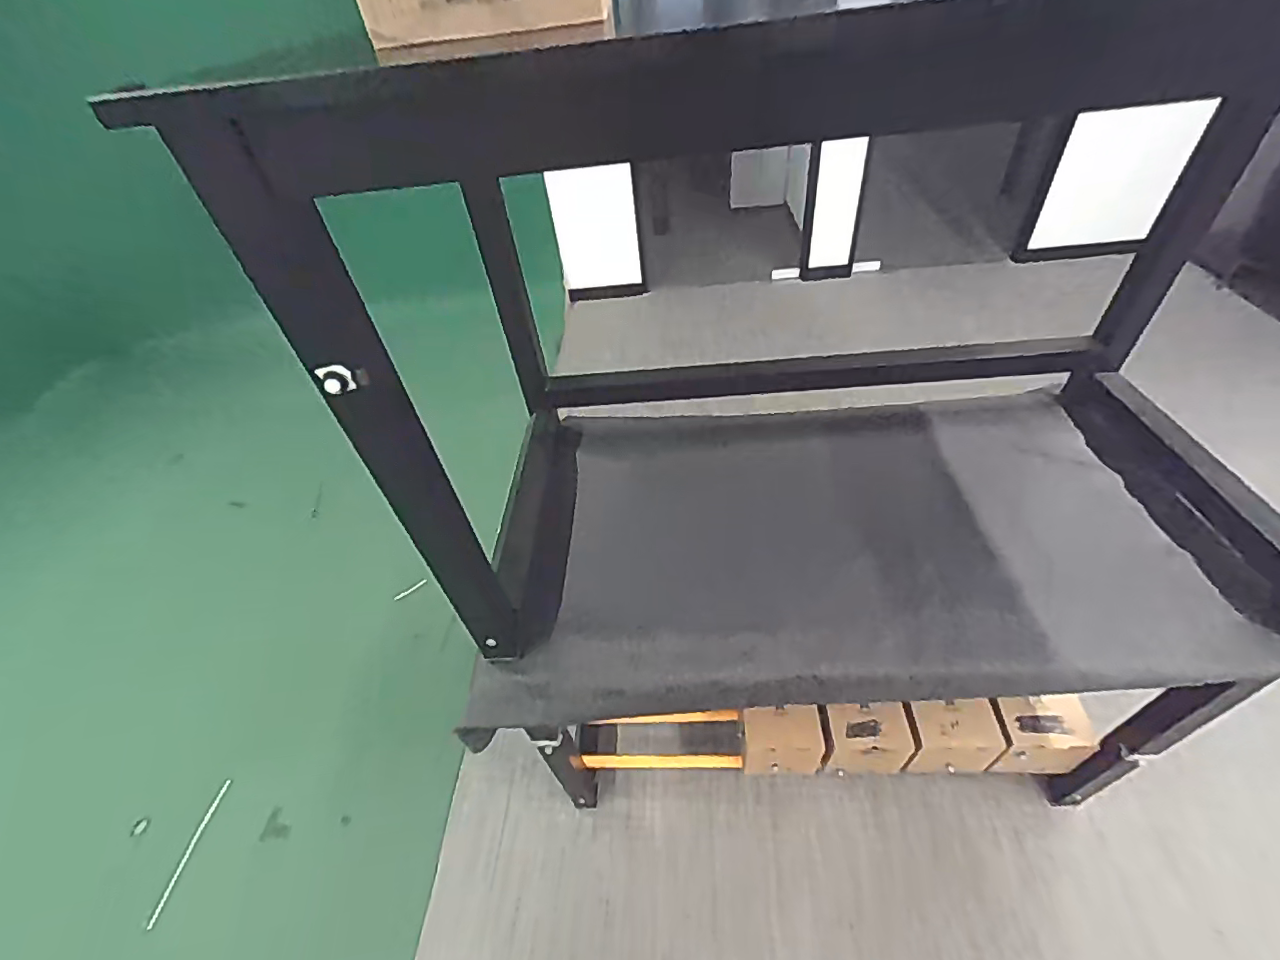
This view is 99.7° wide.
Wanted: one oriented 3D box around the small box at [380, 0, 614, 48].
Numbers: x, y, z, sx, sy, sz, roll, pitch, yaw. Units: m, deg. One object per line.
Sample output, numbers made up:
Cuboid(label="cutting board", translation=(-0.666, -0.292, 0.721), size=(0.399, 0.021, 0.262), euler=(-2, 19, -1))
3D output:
Cuboid(label="small box", translation=(-0.112, -0.429, 0.387), size=(0.168, 0.176, 0.179), euler=(-6, 44, 3))
